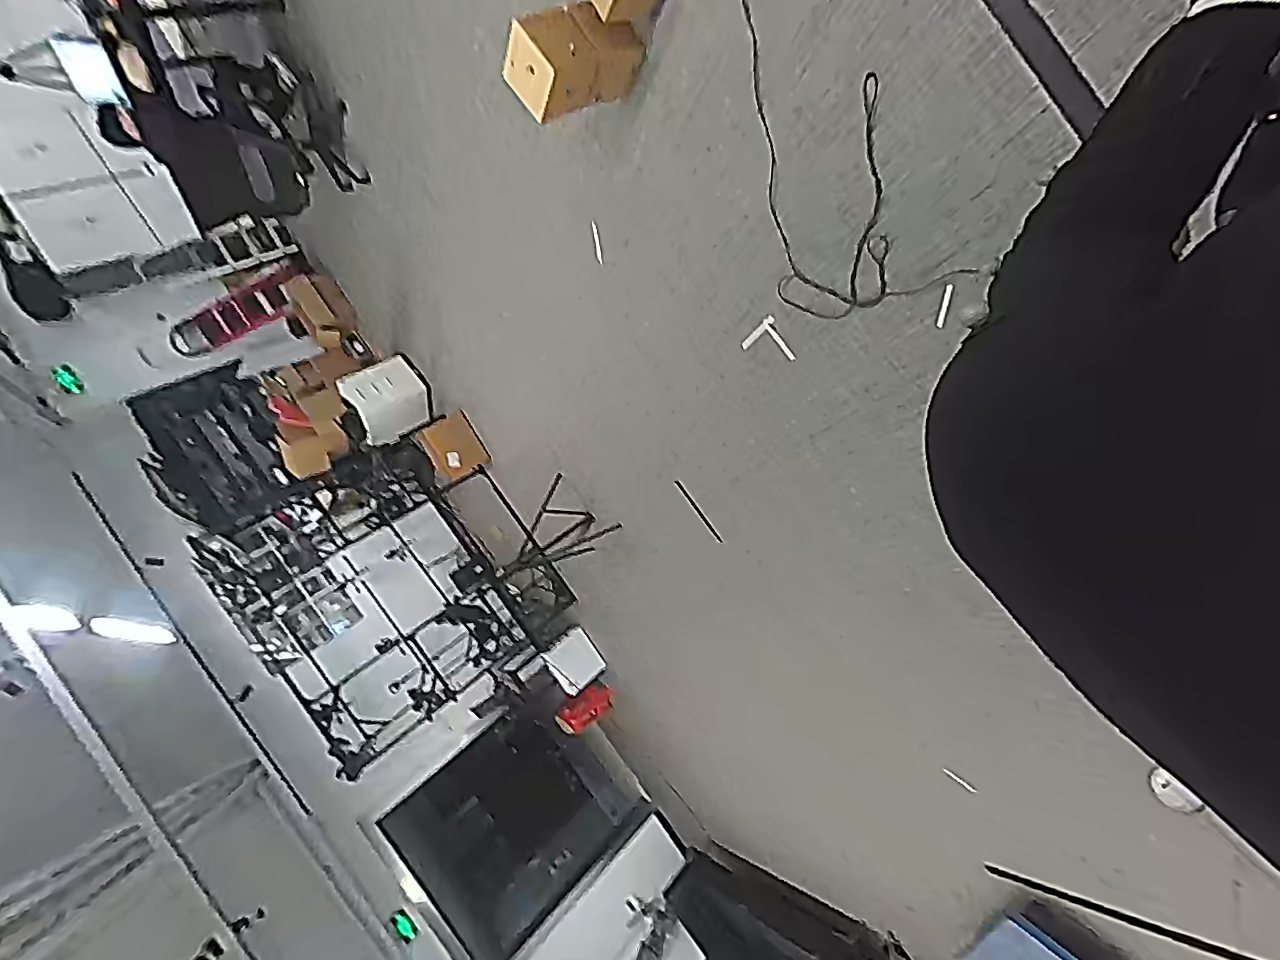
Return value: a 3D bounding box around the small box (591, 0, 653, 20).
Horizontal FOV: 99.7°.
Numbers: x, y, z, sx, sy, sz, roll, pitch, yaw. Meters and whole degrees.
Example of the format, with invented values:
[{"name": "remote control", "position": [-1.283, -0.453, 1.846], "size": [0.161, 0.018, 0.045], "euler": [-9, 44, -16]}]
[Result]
[{"name": "small box", "position": [-0.043, -1.309, 1.348], "size": [0.168, 0.176, 0.179], "euler": [58, 151, -4]}]
